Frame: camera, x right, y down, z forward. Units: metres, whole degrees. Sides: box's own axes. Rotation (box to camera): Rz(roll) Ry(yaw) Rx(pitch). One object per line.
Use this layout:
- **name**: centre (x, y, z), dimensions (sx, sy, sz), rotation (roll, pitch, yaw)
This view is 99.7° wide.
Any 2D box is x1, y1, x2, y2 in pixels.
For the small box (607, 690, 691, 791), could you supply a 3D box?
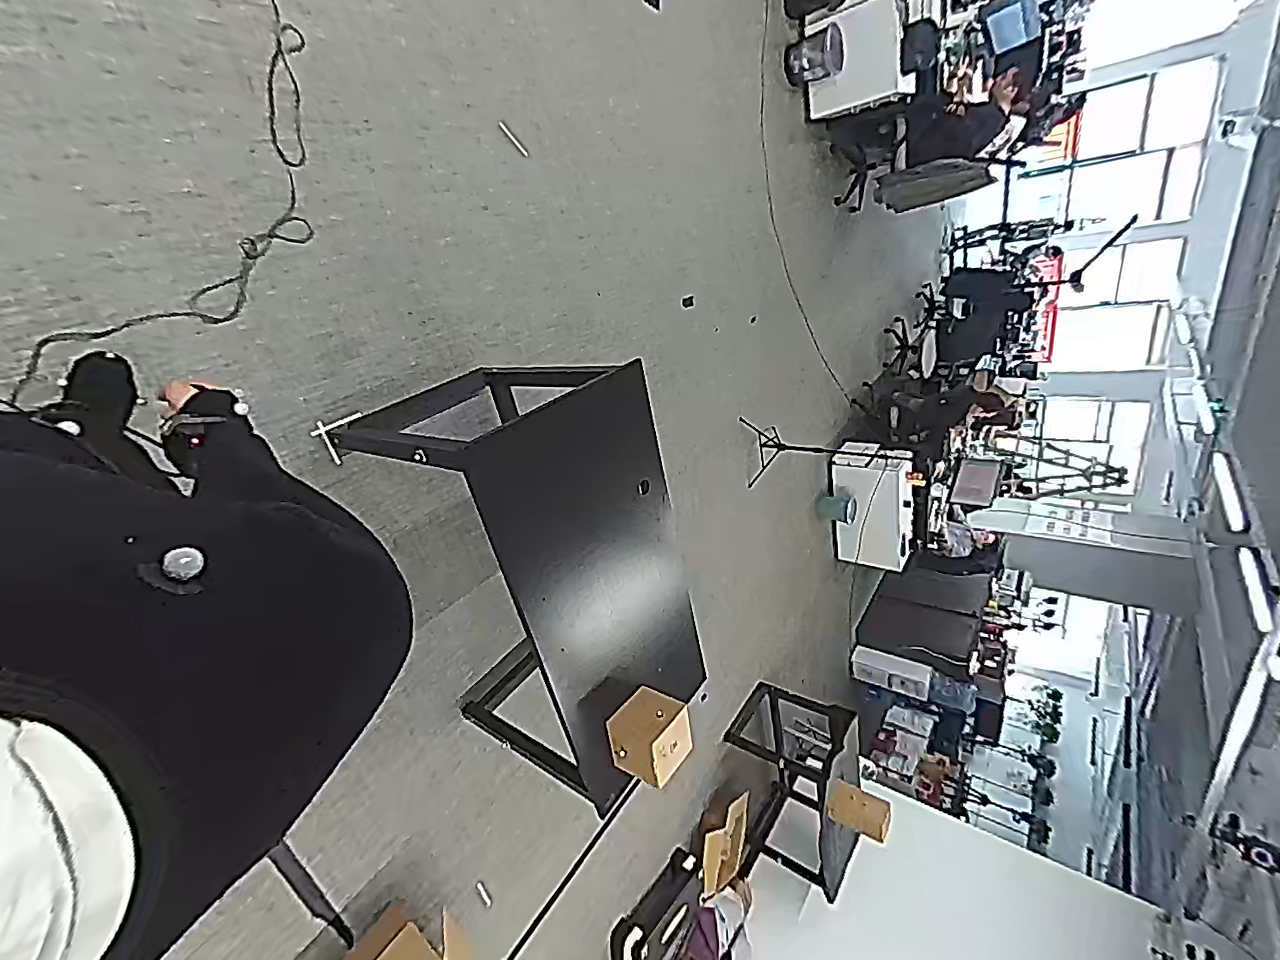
- **small box**: centre (0.026, 0.749, 1.579), dimensions (0.179, 0.176, 0.168), rotation (-29, 117, -46)
